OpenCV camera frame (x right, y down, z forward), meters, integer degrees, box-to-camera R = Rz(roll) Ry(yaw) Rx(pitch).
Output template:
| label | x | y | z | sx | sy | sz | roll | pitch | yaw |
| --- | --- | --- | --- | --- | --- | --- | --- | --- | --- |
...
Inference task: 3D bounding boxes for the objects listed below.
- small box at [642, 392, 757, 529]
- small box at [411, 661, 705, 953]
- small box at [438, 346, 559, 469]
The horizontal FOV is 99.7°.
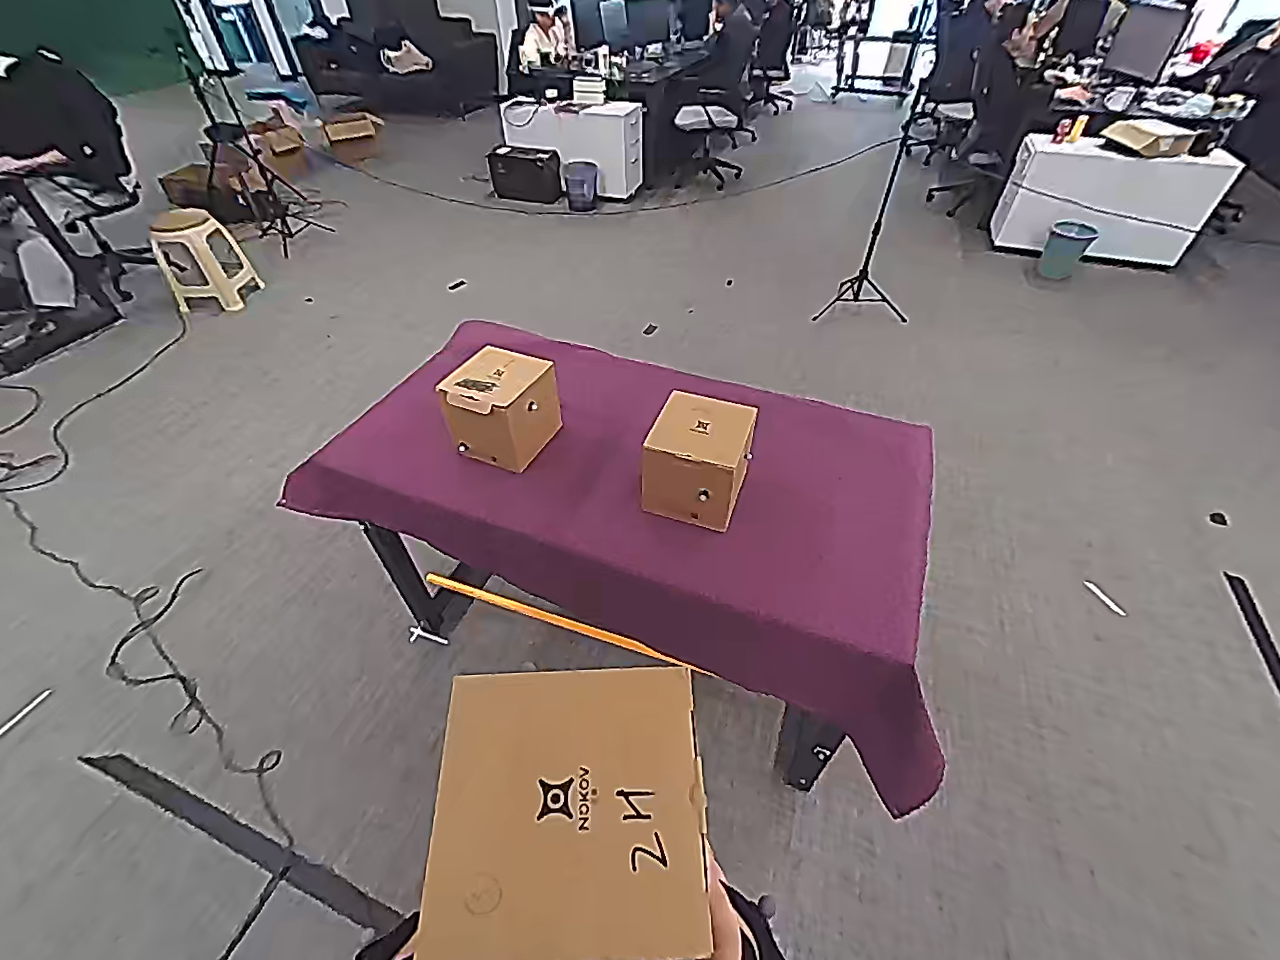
| label | x | y | z | sx | sy | sz | roll | pitch | yaw |
| --- | --- | --- | --- | --- | --- | --- | --- | --- | --- |
| small box | 0.111 | -0.035 | 1.015 | 0.168 | 0.176 | 0.179 | 16 | 47 | 15 |
| small box | -0.049 | 0.248 | 0.423 | 0.179 | 0.176 | 0.168 | -1 | 58 | -1 |
| small box | -0.281 | -0.149 | 1.128 | 0.168 | 0.176 | 0.179 | 18 | 47 | 17 |
